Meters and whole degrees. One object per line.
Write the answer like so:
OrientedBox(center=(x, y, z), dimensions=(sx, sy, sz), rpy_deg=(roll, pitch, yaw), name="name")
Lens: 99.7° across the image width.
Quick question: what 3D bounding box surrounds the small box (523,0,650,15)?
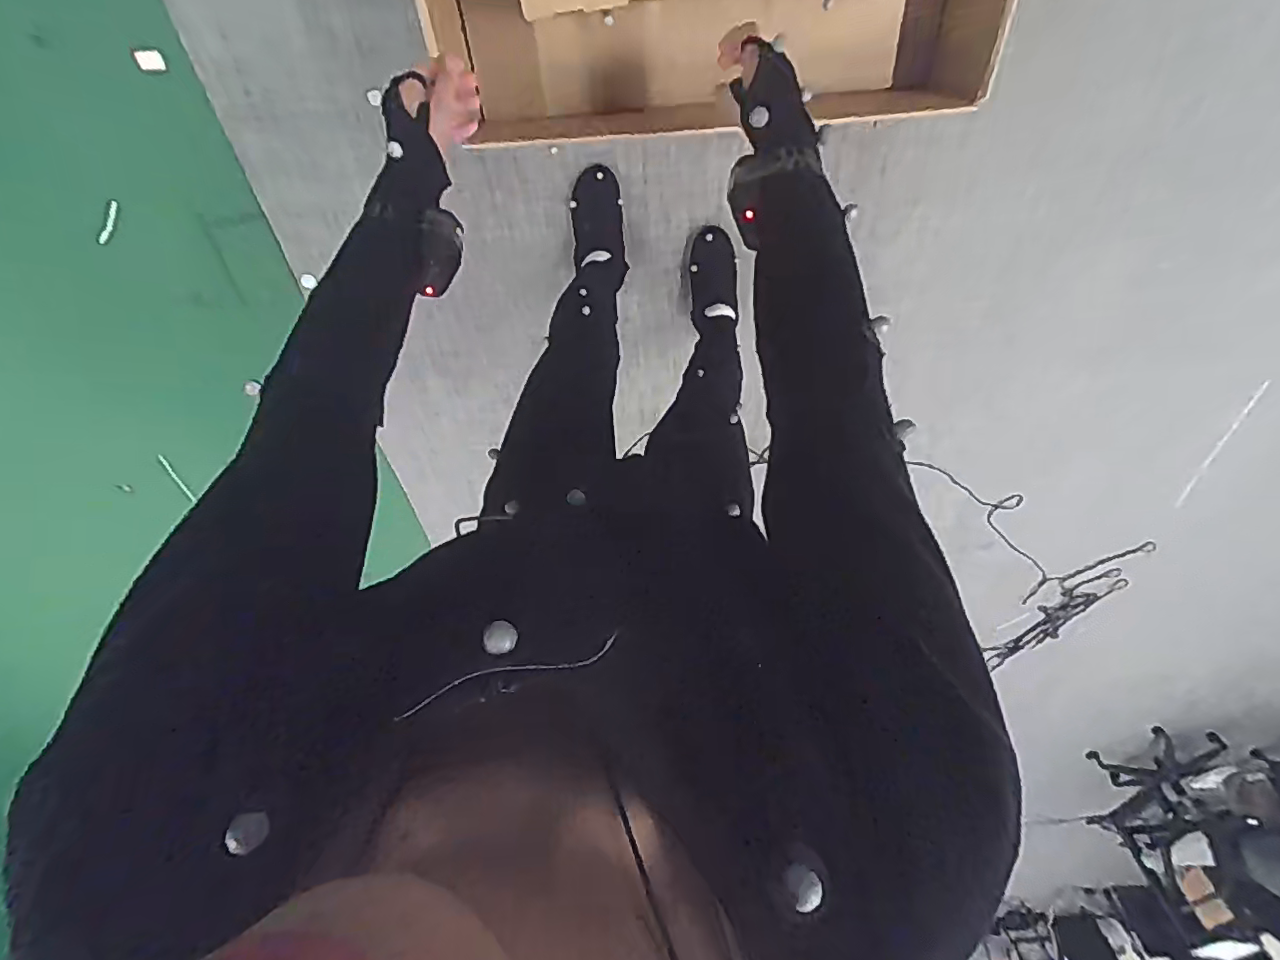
OrientedBox(center=(-0.044, -0.581, 0.529), dimensions=(0.168, 0.176, 0.179), rpy_deg=(-7, 131, 4), name="small box")
